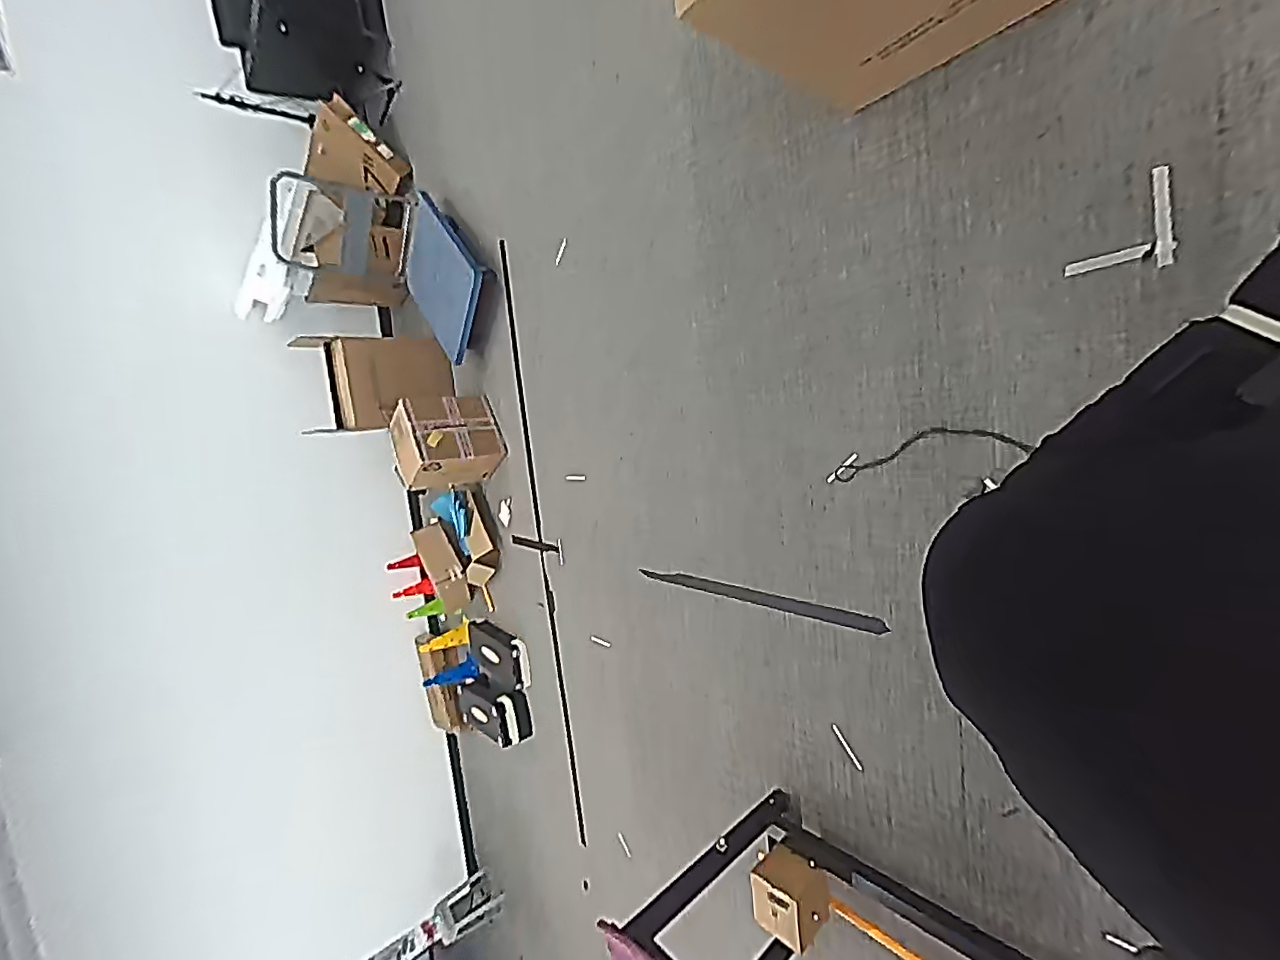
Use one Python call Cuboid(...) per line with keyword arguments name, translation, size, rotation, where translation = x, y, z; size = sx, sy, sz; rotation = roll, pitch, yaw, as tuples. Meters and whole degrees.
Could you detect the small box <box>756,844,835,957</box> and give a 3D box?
Cuboid(name="small box", translation=(0.472, 1.258, 1.637), size=(0.168, 0.176, 0.179), rotation=(2, 101, 49))
